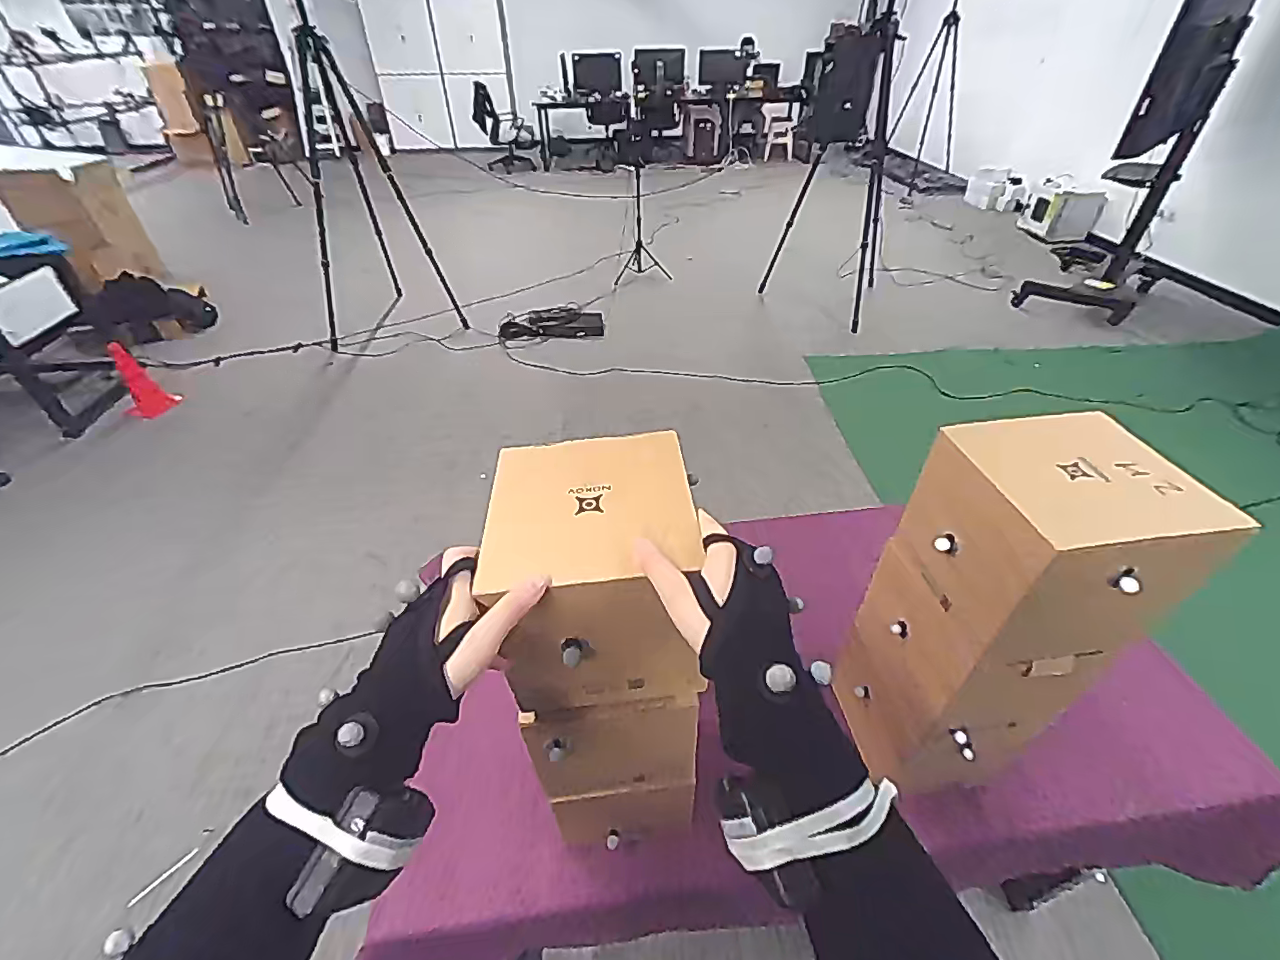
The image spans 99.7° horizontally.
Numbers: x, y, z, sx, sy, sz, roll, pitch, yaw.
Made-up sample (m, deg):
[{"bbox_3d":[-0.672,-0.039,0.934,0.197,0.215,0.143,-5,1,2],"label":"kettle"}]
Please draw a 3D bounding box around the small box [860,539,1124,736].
[{"bbox_3d":[0.388,0.181,0.638,0.168,0.176,0.179,-6,40,-5],"label":"small box"}]

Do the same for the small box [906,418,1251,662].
[{"bbox_3d":[0.387,0.059,0.527,0.179,0.176,0.168,-5,42,-4],"label":"small box"}]

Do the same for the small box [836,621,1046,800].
[{"bbox_3d":[0.390,0.307,0.744,0.168,0.176,0.179,-6,40,-4],"label":"small box"}]

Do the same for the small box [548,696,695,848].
[{"bbox_3d":[-0.026,0.349,0.709,0.168,0.176,0.179,-5,41,-3],"label":"small box"}]

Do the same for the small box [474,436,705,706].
[{"bbox_3d":[-0.035,0.084,0.488,0.168,0.176,0.179,-6,38,-1],"label":"small box"}]
